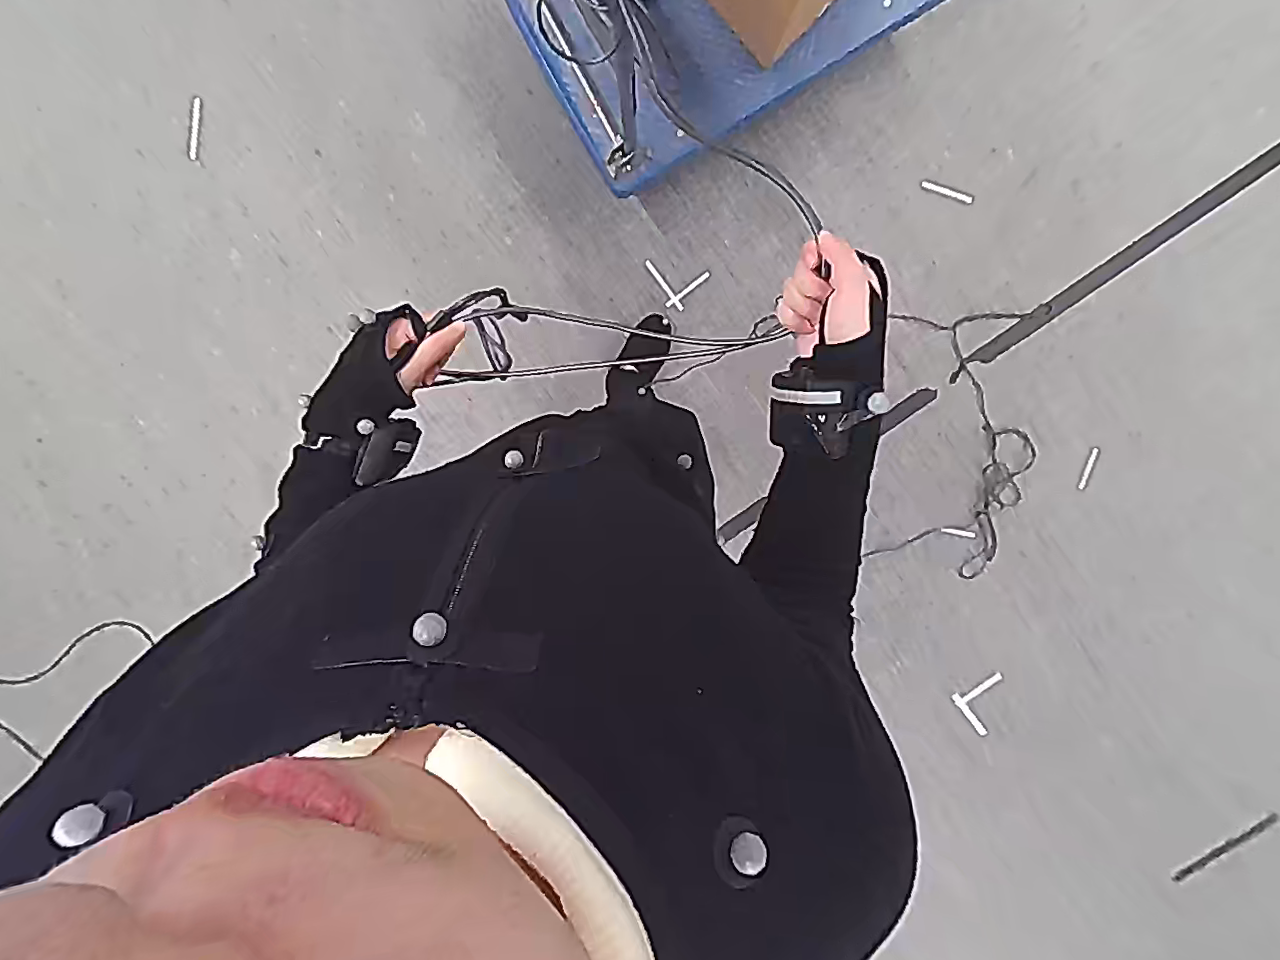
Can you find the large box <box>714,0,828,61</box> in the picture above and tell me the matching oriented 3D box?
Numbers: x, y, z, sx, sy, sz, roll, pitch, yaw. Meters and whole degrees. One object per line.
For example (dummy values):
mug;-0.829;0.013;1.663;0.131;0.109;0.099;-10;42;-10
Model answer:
large box;0.240;-1.091;0.950;0.320;0.320;0.408;-44;100;8
